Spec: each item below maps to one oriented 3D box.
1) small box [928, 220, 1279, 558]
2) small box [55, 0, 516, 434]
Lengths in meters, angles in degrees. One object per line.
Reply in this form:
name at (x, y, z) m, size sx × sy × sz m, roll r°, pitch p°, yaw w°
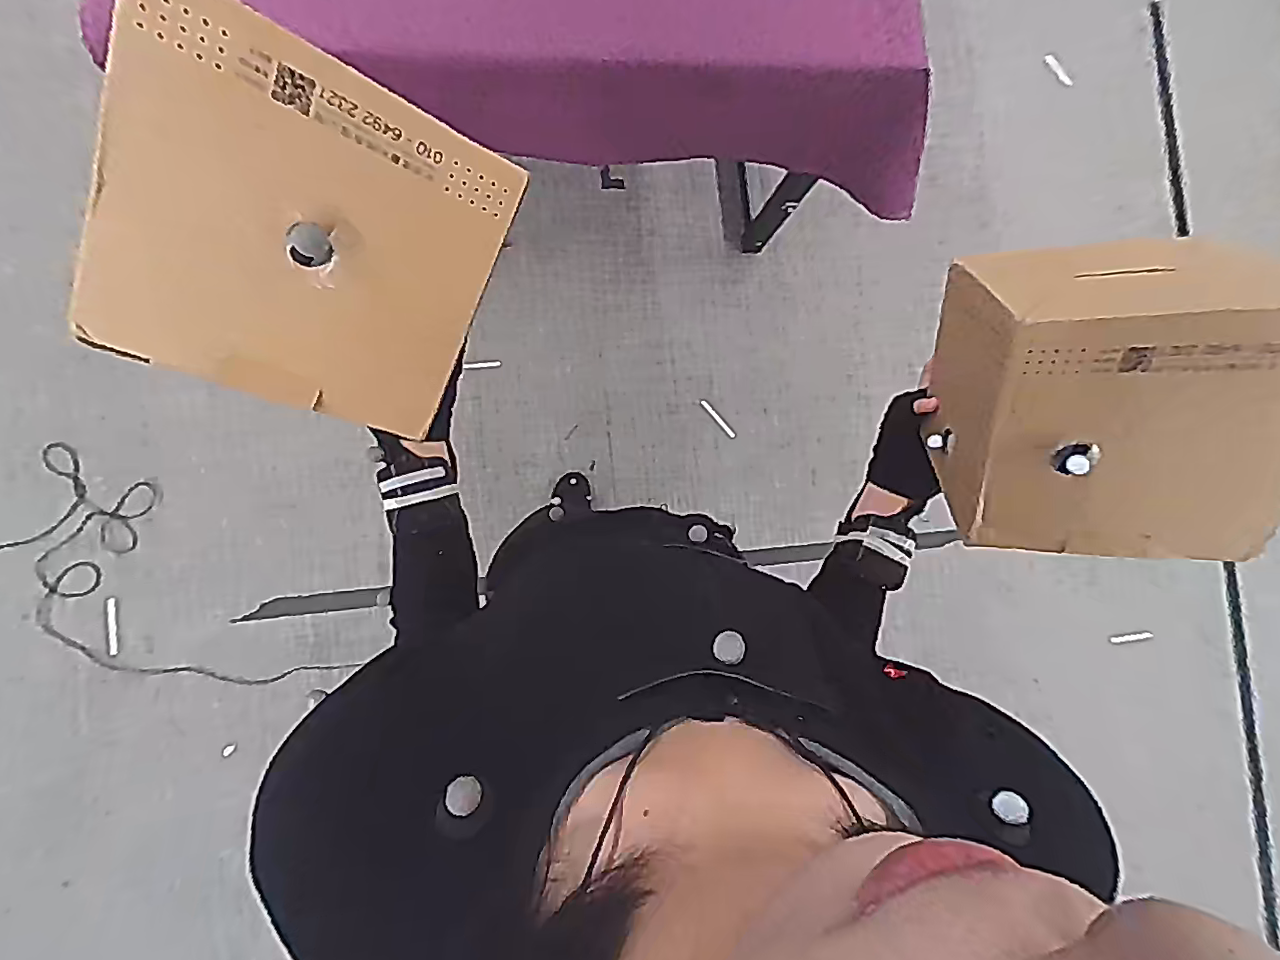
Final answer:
small box at (0.318, -0.070, 0.374) m, size 0.168 × 0.179 × 0.176 m, roll 3°, pitch 124°, yaw 15°
small box at (-0.186, -0.156, 0.322) m, size 0.168 × 0.179 × 0.176 m, roll 19°, pitch 111°, yaw -29°
